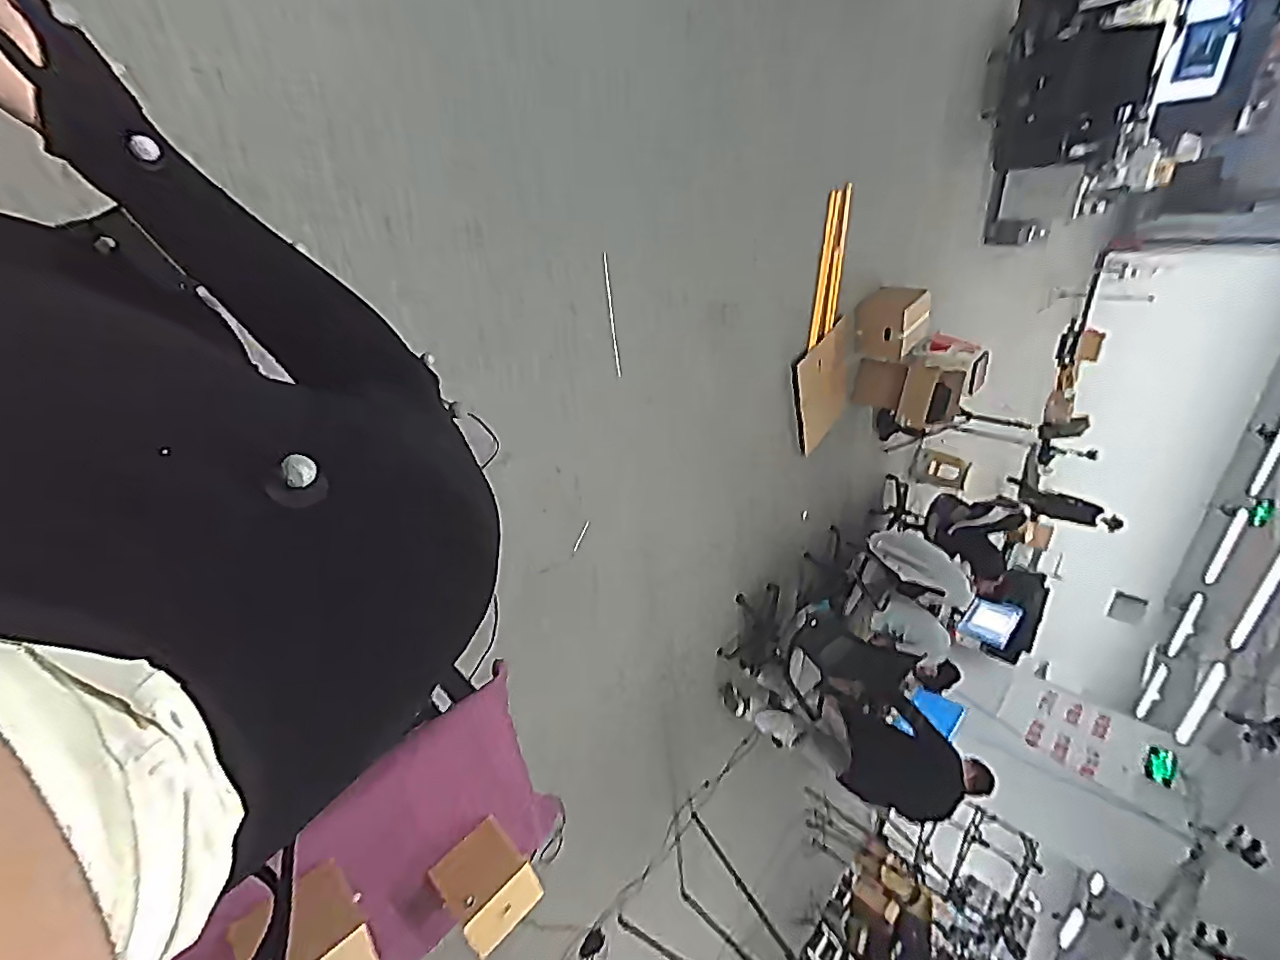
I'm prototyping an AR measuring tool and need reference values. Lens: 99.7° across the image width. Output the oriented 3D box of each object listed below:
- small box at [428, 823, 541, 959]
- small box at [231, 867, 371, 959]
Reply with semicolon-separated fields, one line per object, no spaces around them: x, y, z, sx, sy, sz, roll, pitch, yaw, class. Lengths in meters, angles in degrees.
-0.368;0.969;1.282;0.179;0.176;0.168;-33;128;-34;small box
-0.609;0.867;0.977;0.179;0.176;0.168;-22;122;-42;small box
